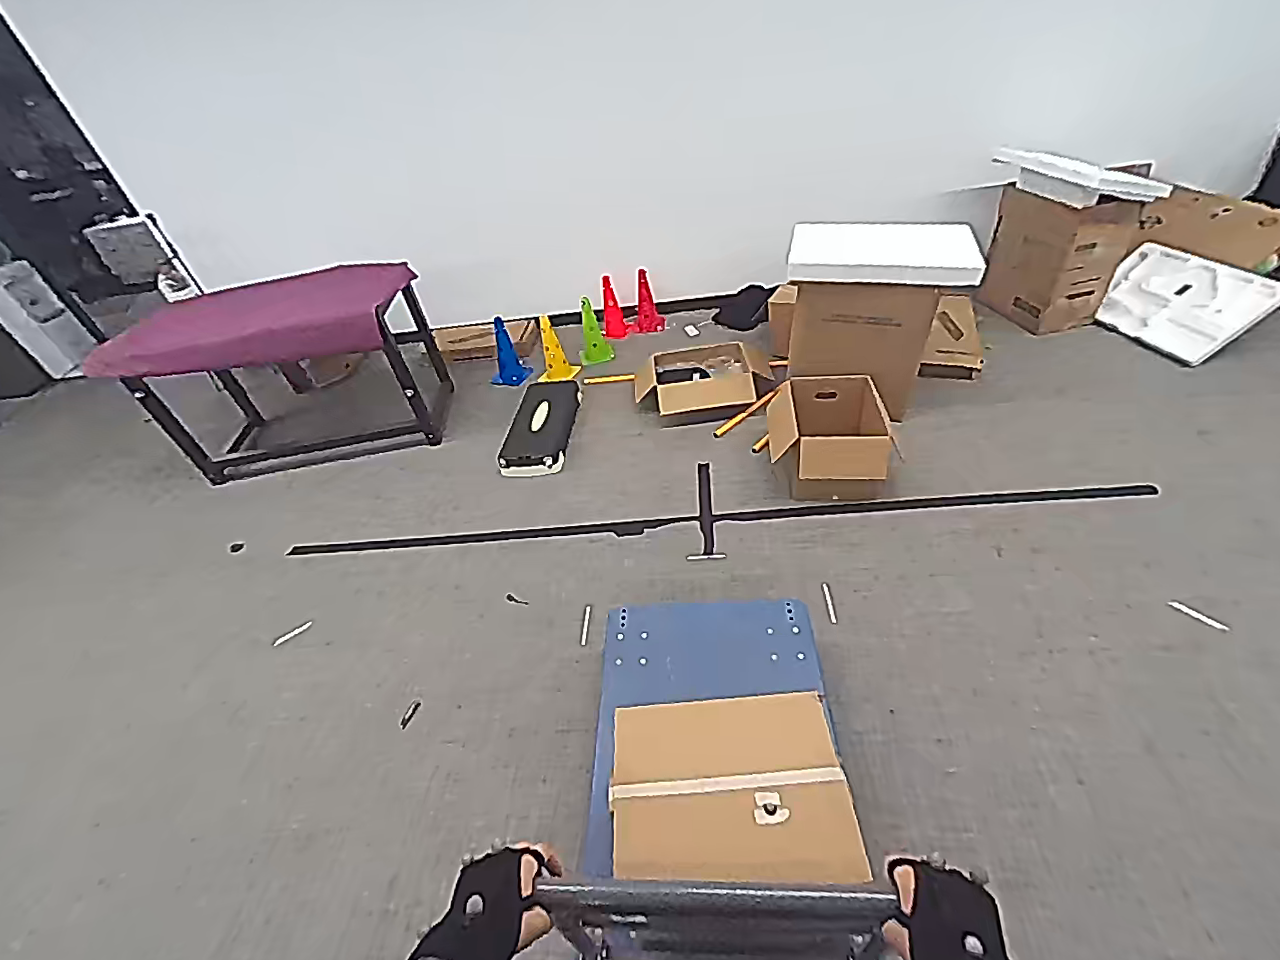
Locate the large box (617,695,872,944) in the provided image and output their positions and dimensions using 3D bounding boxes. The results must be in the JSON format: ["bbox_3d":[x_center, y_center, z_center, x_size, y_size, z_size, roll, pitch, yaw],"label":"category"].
[{"bbox_3d":[0.172,0.657,1.050,0.408,0.320,0.320,-6,41,2],"label":"large box"}]
